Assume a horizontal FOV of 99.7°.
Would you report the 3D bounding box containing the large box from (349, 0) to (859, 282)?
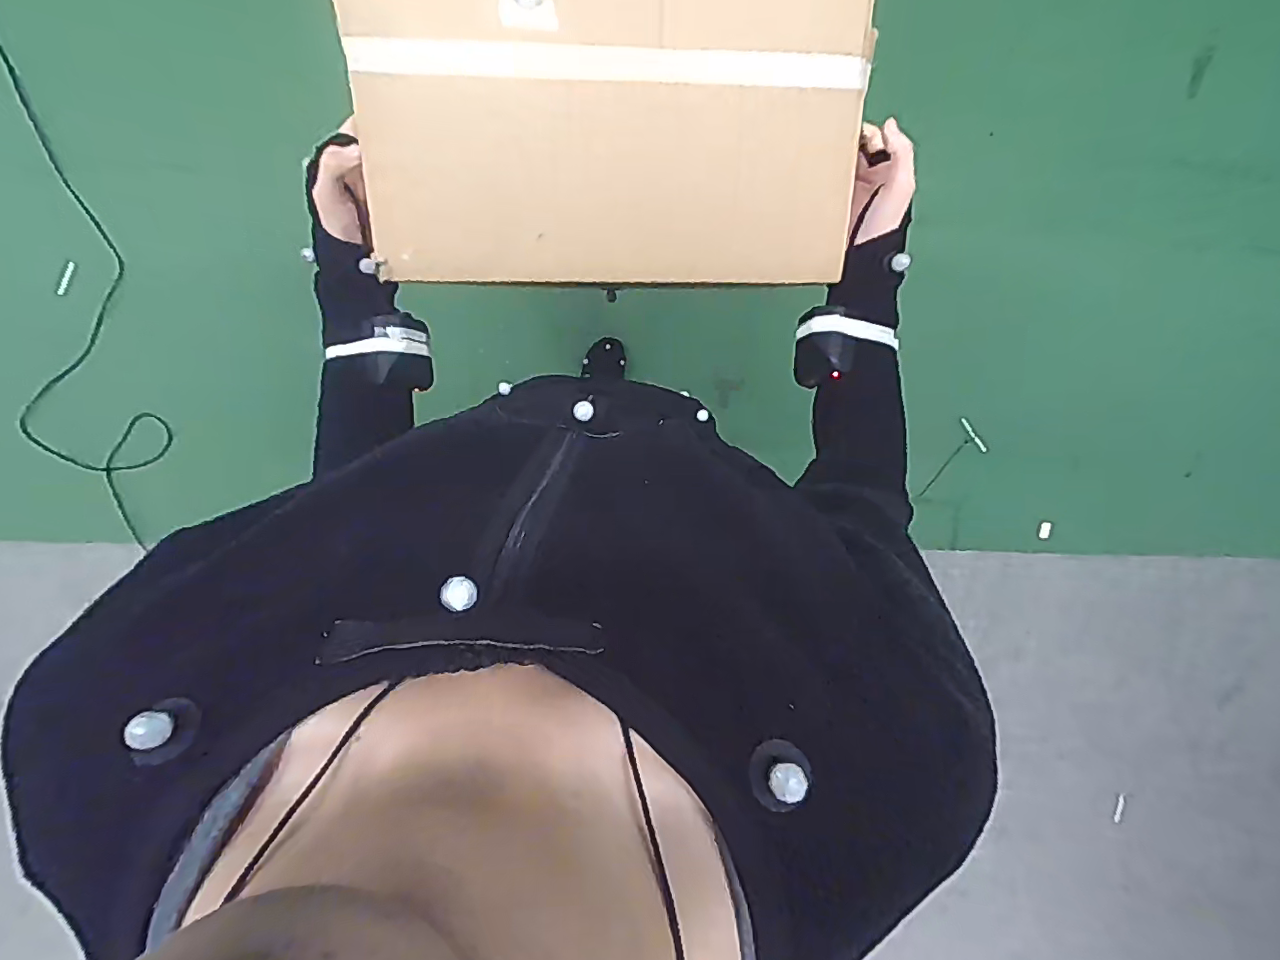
[{"bbox_3d":[-0.033,-0.378,0.574,0.408,0.320,0.320,-1,109,-4],"label":"large box"}]
